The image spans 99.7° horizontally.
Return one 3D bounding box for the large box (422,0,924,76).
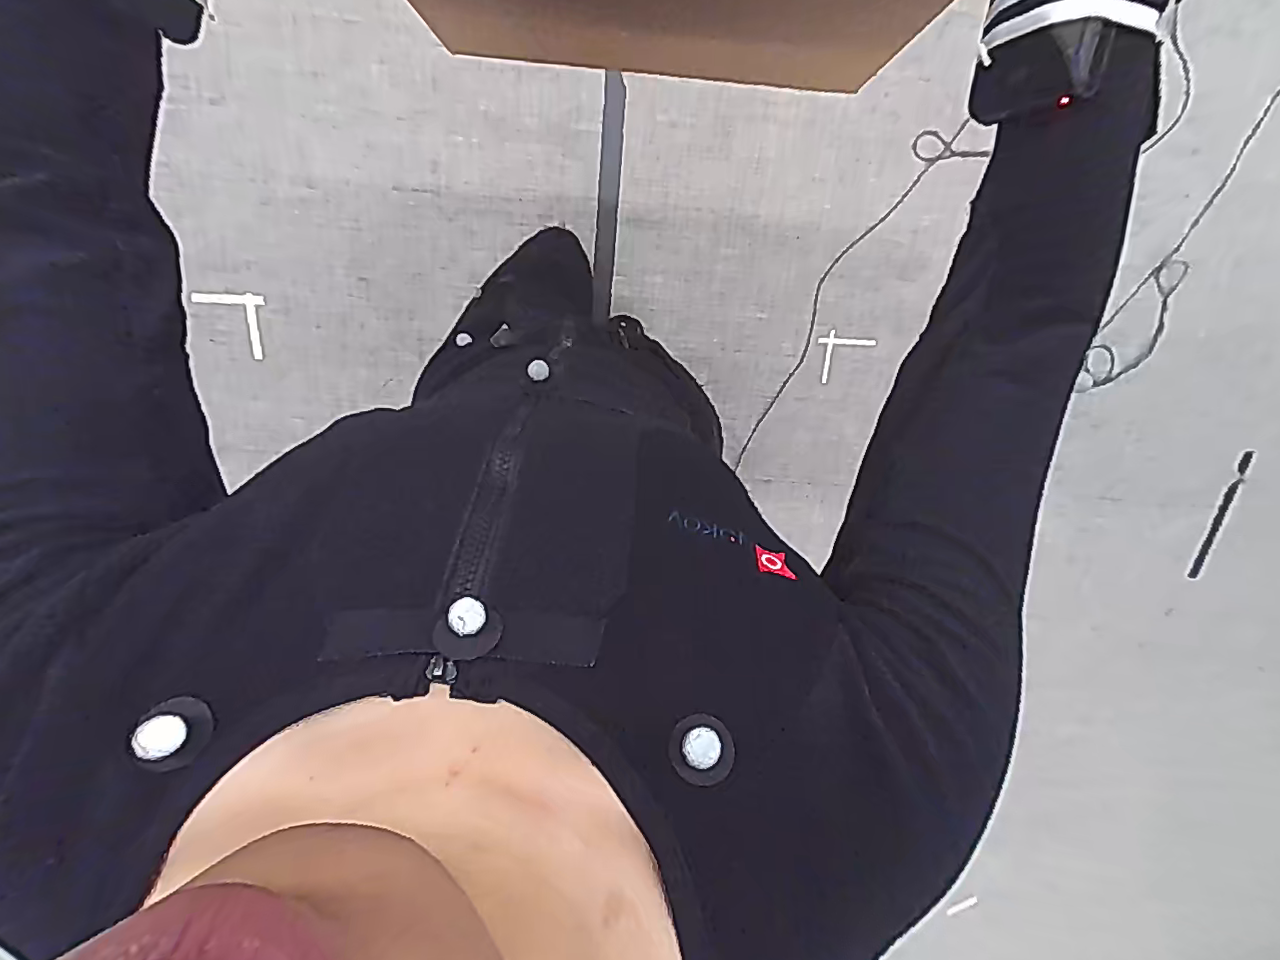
[{"bbox_3d":[0.024,-0.504,0.342,0.408,0.320,0.320,4,110,-2],"label":"large box"}]
